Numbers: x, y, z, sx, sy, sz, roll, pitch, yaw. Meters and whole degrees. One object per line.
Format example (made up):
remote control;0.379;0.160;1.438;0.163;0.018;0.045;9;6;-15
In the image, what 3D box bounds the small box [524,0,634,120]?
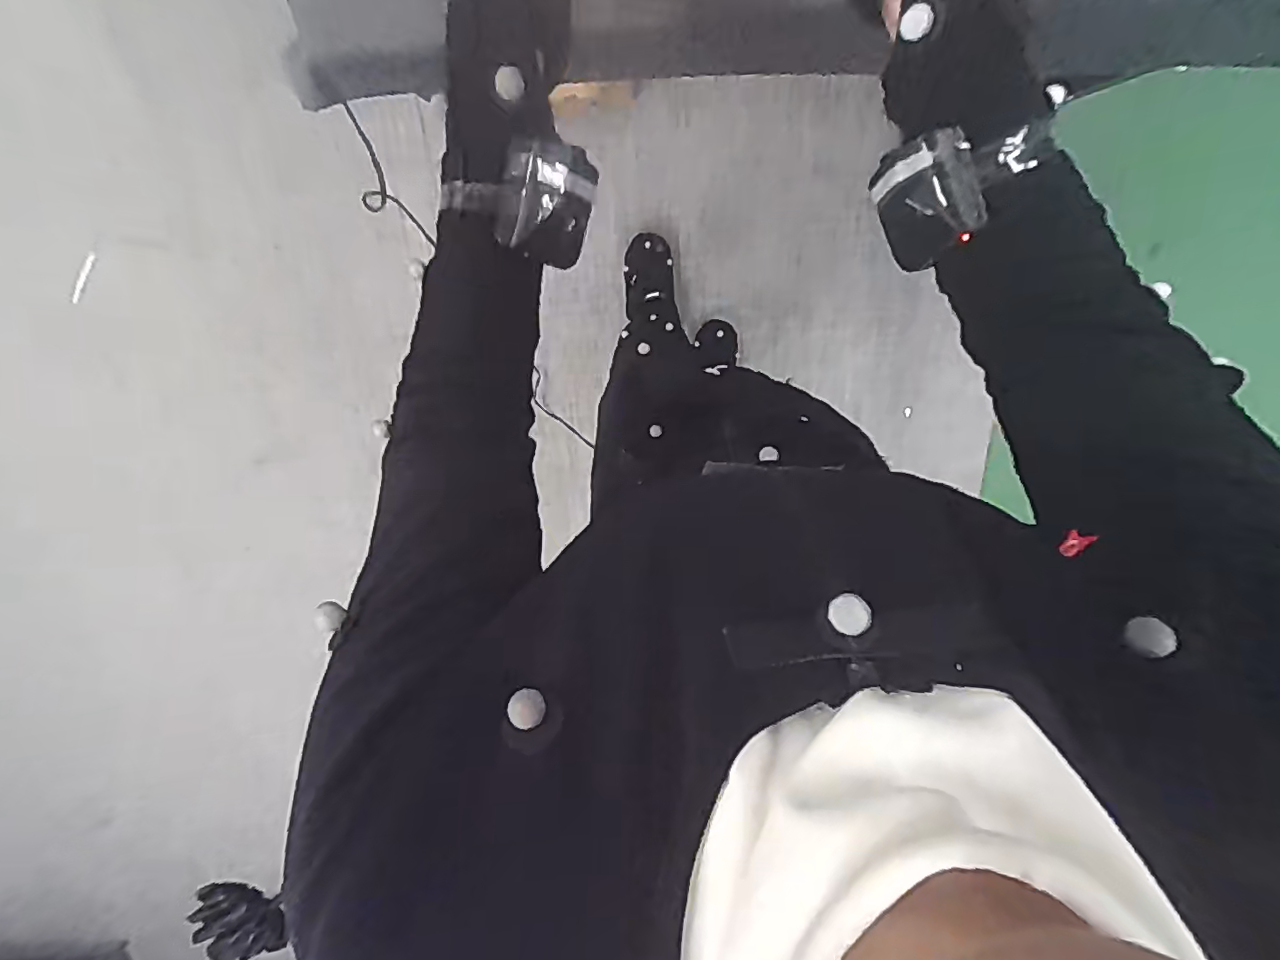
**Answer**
small box;-0.109;-0.826;1.052;0.168;0.176;0.179;-12;113;5
